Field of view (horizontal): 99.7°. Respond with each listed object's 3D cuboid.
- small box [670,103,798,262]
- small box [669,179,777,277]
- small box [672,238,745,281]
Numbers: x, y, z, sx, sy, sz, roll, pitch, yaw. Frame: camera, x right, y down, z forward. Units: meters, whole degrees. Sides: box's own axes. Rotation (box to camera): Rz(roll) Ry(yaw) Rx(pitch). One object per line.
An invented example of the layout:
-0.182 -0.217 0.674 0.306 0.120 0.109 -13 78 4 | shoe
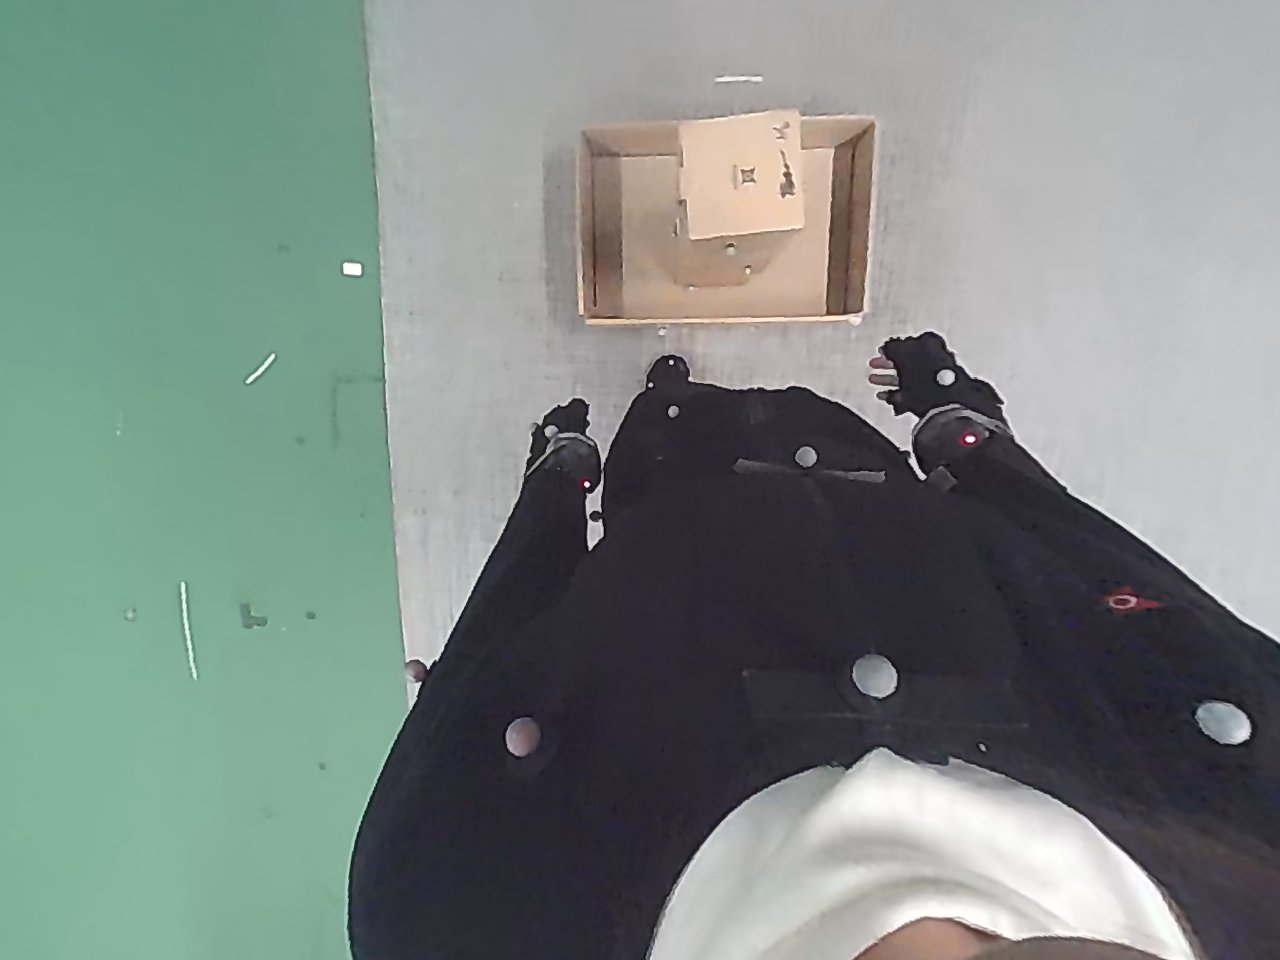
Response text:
0.145 -0.469 0.881 0.179 0.176 0.168 -8 97 3 | small box
0.150 -0.493 1.024 0.179 0.176 0.168 -7 100 4 | small box
0.154 -0.542 1.196 0.168 0.176 0.179 0 100 3 | small box
